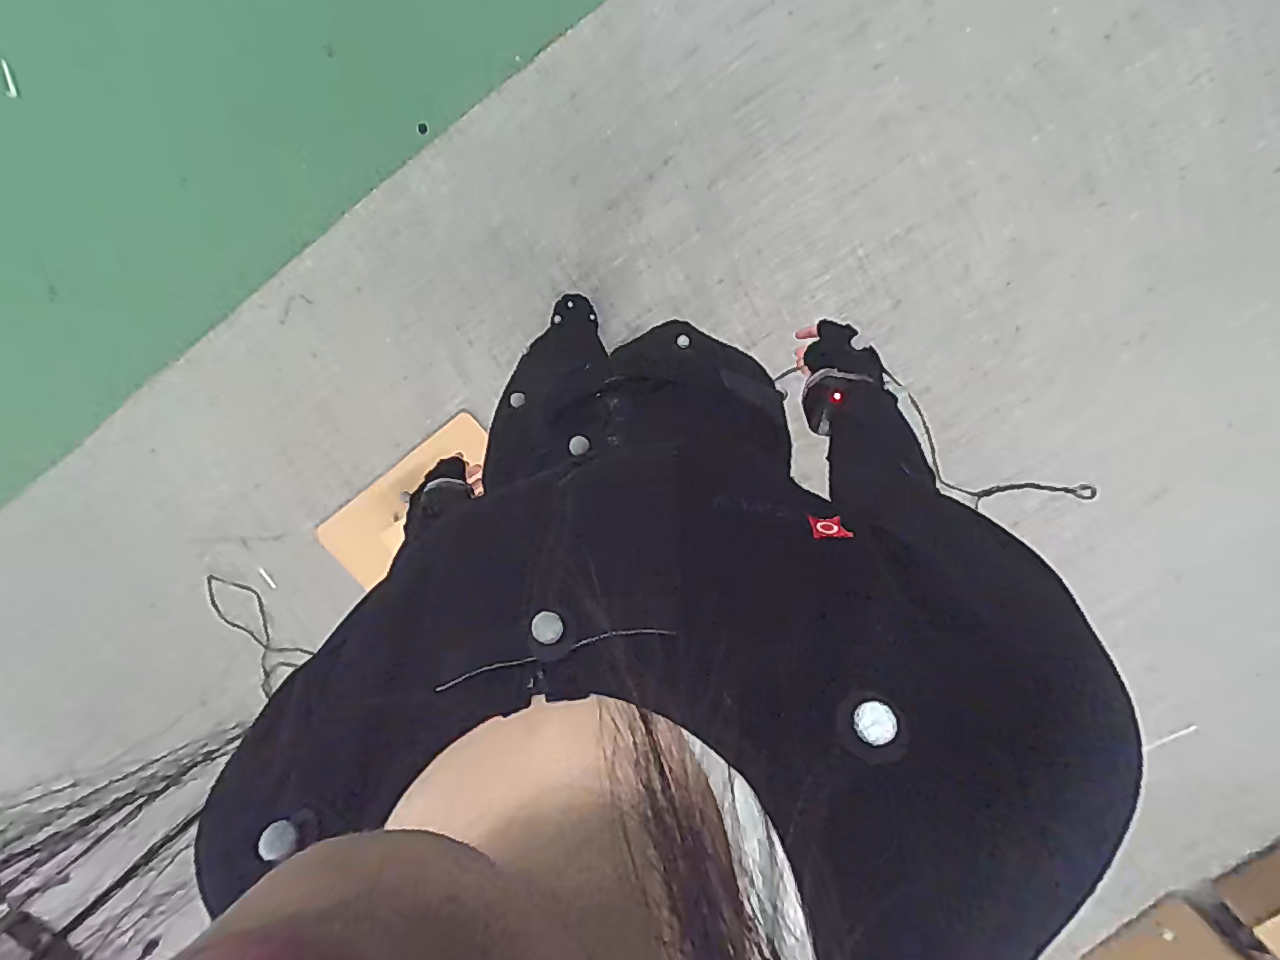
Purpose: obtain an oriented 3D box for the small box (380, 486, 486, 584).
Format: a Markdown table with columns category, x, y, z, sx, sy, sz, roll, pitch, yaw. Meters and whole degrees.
| category | x | y | z | sx | sy | sz | roll | pitch | yaw |
| --- | --- | --- | --- | --- | --- | --- | --- | --- | --- |
| small box | -0.549 | 0.143 | 1.458 | 0.179 | 0.176 | 0.168 | -31 | 103 | 9 |
